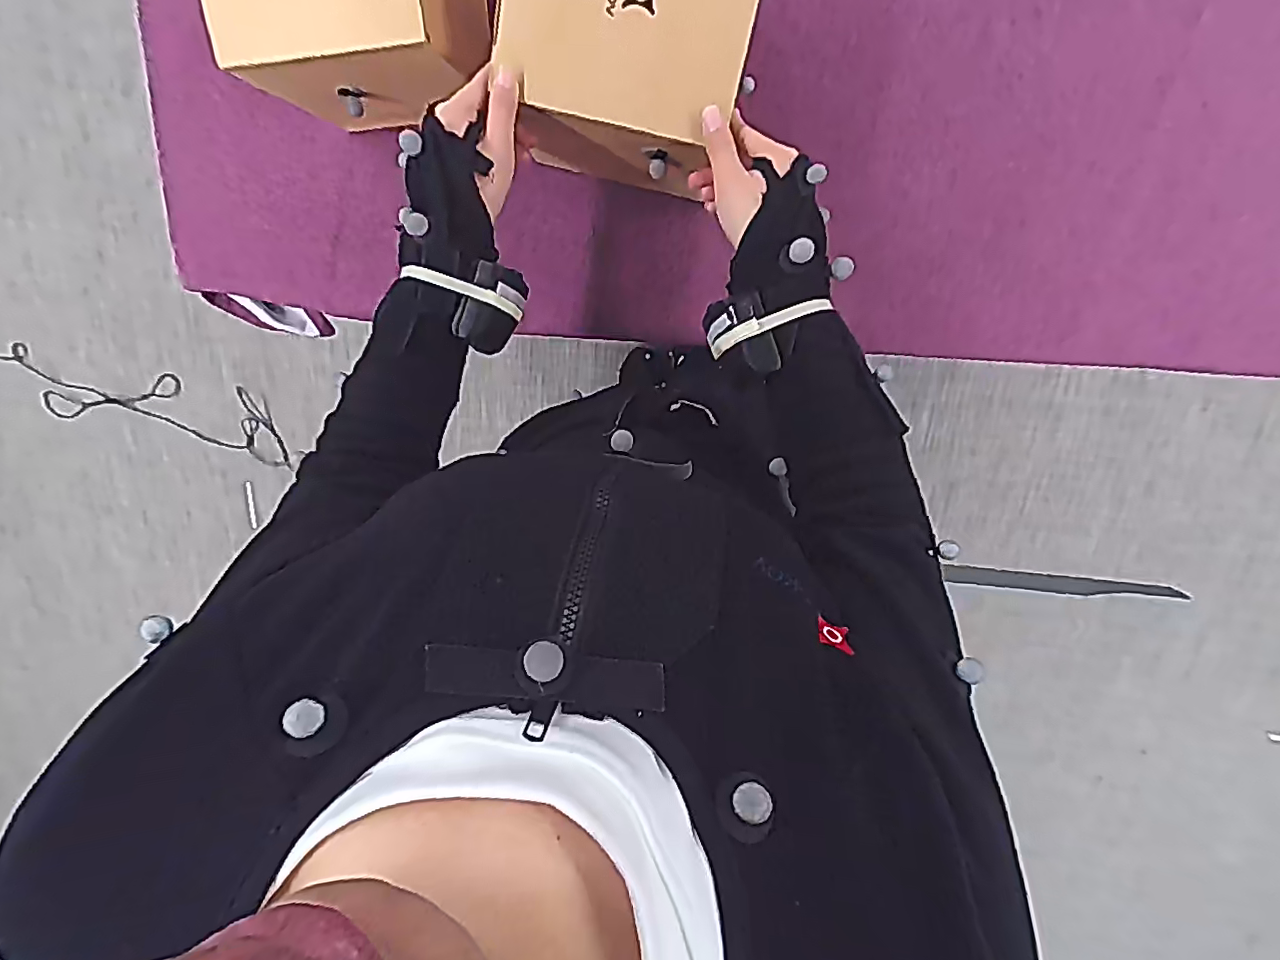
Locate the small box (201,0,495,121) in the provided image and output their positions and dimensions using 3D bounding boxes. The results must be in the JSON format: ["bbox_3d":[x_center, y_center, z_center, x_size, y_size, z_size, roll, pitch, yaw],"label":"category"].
[{"bbox_3d":[-0.233,-0.422,0.446,0.168,0.176,0.179,-3,107,6],"label":"small box"}]

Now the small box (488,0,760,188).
[{"bbox_3d":[-0.003,-0.357,0.439,0.179,0.176,0.168,13,106,-1],"label":"small box"}]
